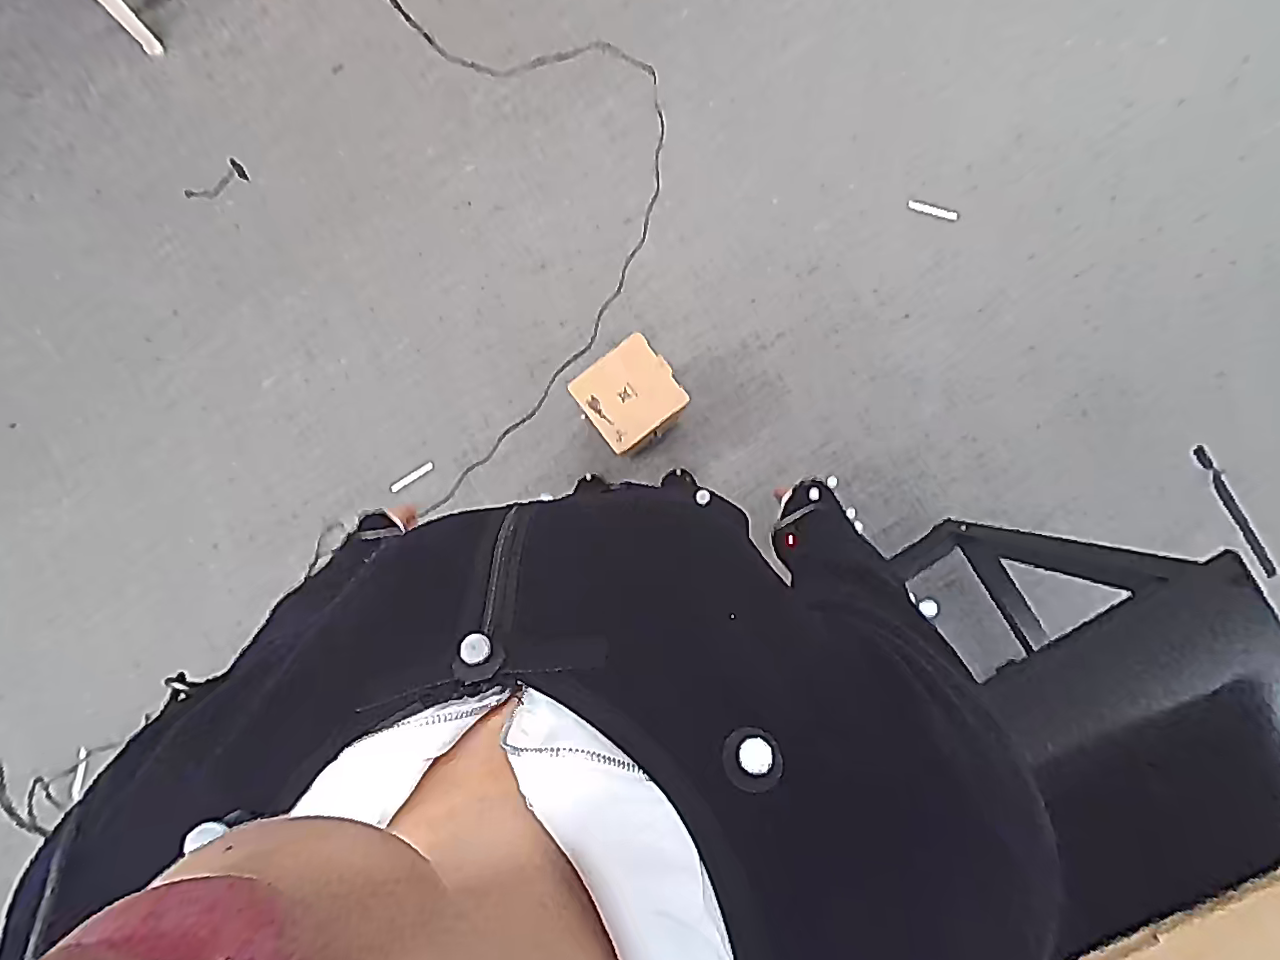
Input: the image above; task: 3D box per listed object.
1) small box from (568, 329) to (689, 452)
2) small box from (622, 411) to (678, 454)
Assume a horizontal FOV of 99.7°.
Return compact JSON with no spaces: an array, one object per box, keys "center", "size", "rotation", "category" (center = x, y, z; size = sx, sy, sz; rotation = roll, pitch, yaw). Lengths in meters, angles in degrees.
[{"center":[-0.022,-0.172,1.096],"size":[0.179,0.176,0.168],"rotation":[-37,90,1],"category":"small box"},{"center":[-0.018,-0.184,1.422],"size":[0.179,0.176,0.168],"rotation":[-36,90,3],"category":"small box"}]
